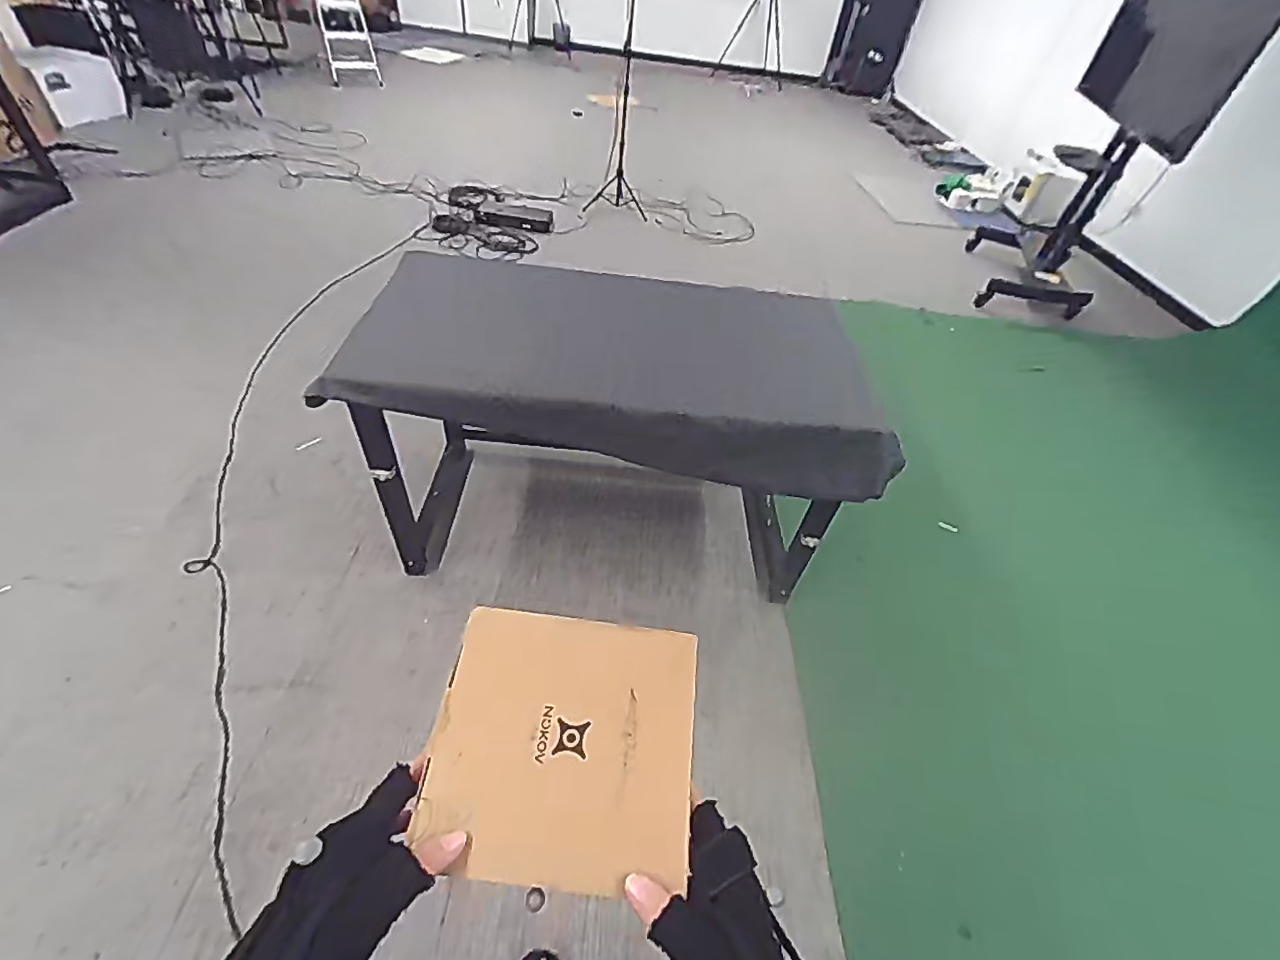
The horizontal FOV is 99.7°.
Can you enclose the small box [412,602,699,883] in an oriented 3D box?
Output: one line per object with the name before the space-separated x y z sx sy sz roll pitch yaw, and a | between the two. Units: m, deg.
small box | -0.053 0.212 0.439 0.179 0.176 0.168 6 58 -2
